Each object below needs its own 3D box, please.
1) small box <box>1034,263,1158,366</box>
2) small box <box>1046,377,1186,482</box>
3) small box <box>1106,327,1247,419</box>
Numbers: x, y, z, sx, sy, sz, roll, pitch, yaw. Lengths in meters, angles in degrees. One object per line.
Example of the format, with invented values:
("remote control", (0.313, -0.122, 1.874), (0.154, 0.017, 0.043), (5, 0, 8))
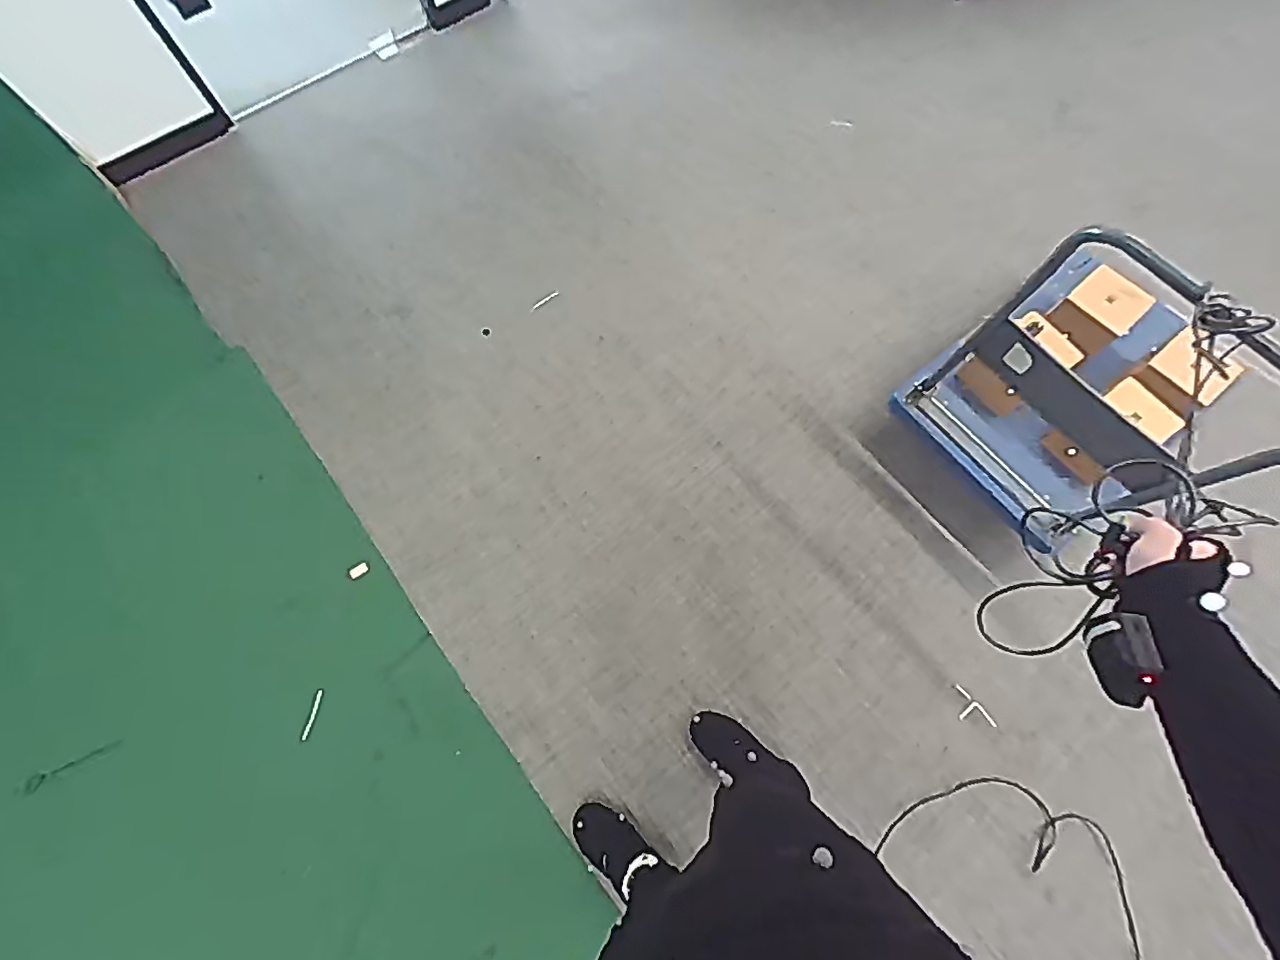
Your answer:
("small box", (1.246, -0.451, 1.497), (0.179, 0.176, 0.168), (-39, 75, -13))
("small box", (1.203, -0.123, 1.382), (0.179, 0.176, 0.168), (-34, 74, -11))
("small box", (1.401, -0.260, 1.428), (0.179, 0.176, 0.168), (-38, 73, -11))
